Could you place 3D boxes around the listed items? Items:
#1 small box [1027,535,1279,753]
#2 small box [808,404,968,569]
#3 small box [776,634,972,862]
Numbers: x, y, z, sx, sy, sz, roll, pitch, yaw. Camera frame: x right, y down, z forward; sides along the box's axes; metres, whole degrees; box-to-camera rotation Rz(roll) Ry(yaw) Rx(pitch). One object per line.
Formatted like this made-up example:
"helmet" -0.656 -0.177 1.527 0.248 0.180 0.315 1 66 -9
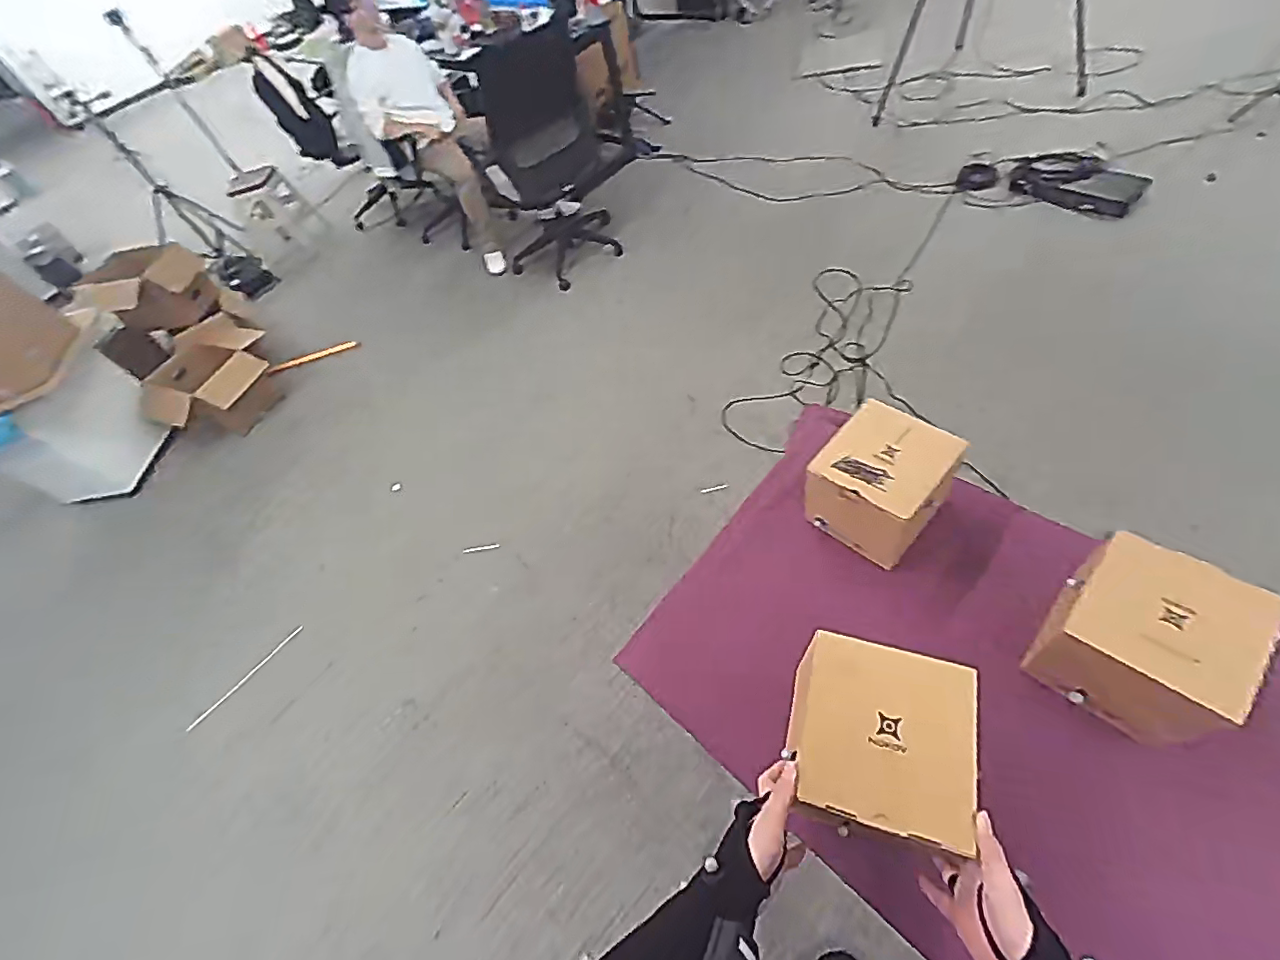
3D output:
"small box" 0.635 0.210 0.687 0.168 0.176 0.179 33 69 33
"small box" 0.397 0.016 0.890 0.179 0.176 0.168 -44 56 -16
"small box" 0.255 0.302 0.616 0.168 0.176 0.179 11 60 15
